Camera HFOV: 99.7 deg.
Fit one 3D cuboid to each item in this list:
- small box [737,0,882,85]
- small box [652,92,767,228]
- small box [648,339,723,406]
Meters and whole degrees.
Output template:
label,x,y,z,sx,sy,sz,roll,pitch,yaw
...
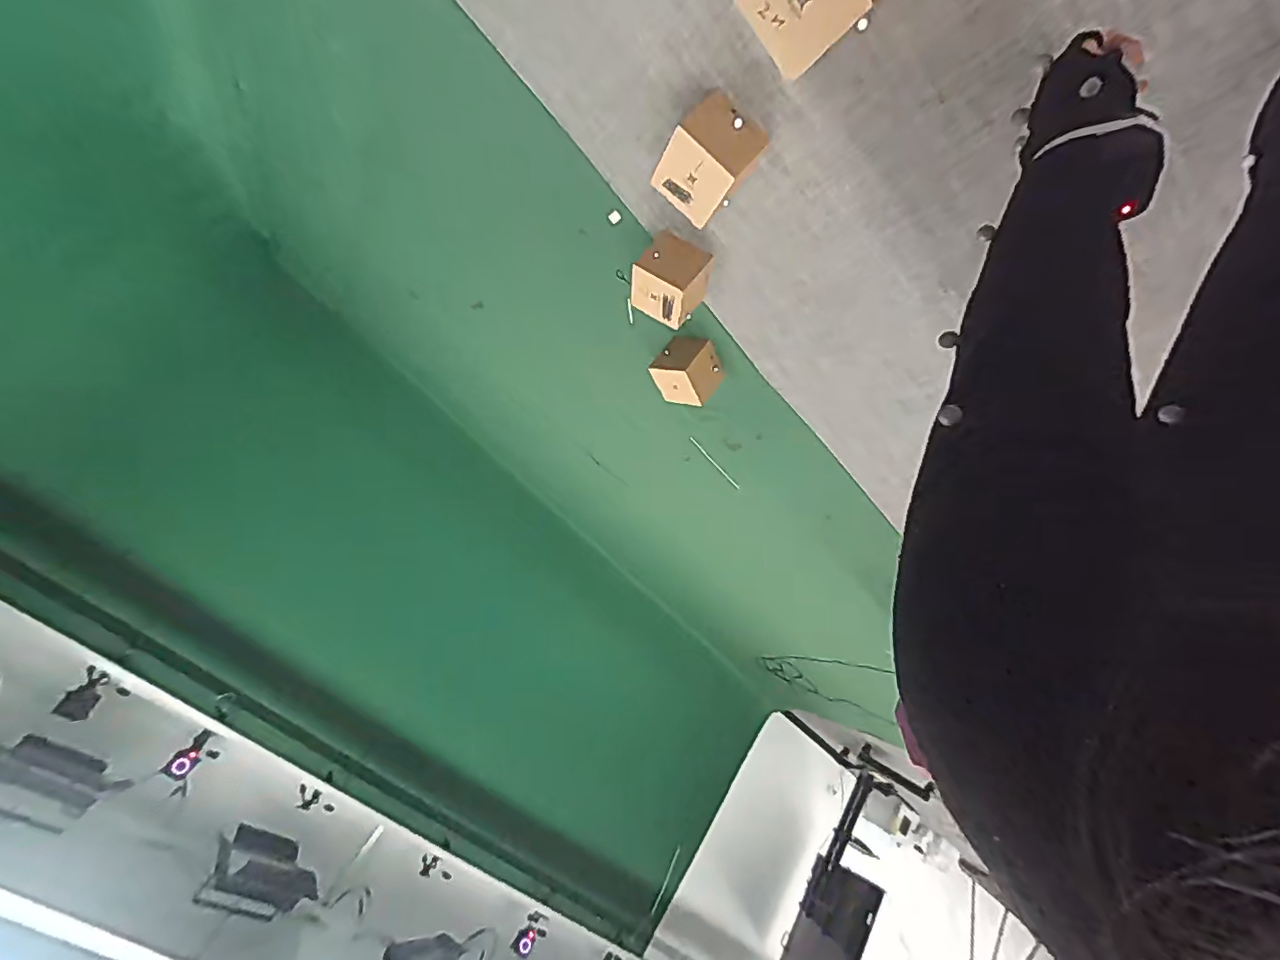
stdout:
label,x,y,z,sx,sy,sz,roll,pitch,yaw
small box,0.300,-0.815,0.884,0.168,0.176,0.179,46,156,-19
small box,0.161,-0.735,1.248,0.168,0.176,0.179,40,157,-8
small box,0.165,-0.389,1.933,0.179,0.176,0.168,16,150,42
